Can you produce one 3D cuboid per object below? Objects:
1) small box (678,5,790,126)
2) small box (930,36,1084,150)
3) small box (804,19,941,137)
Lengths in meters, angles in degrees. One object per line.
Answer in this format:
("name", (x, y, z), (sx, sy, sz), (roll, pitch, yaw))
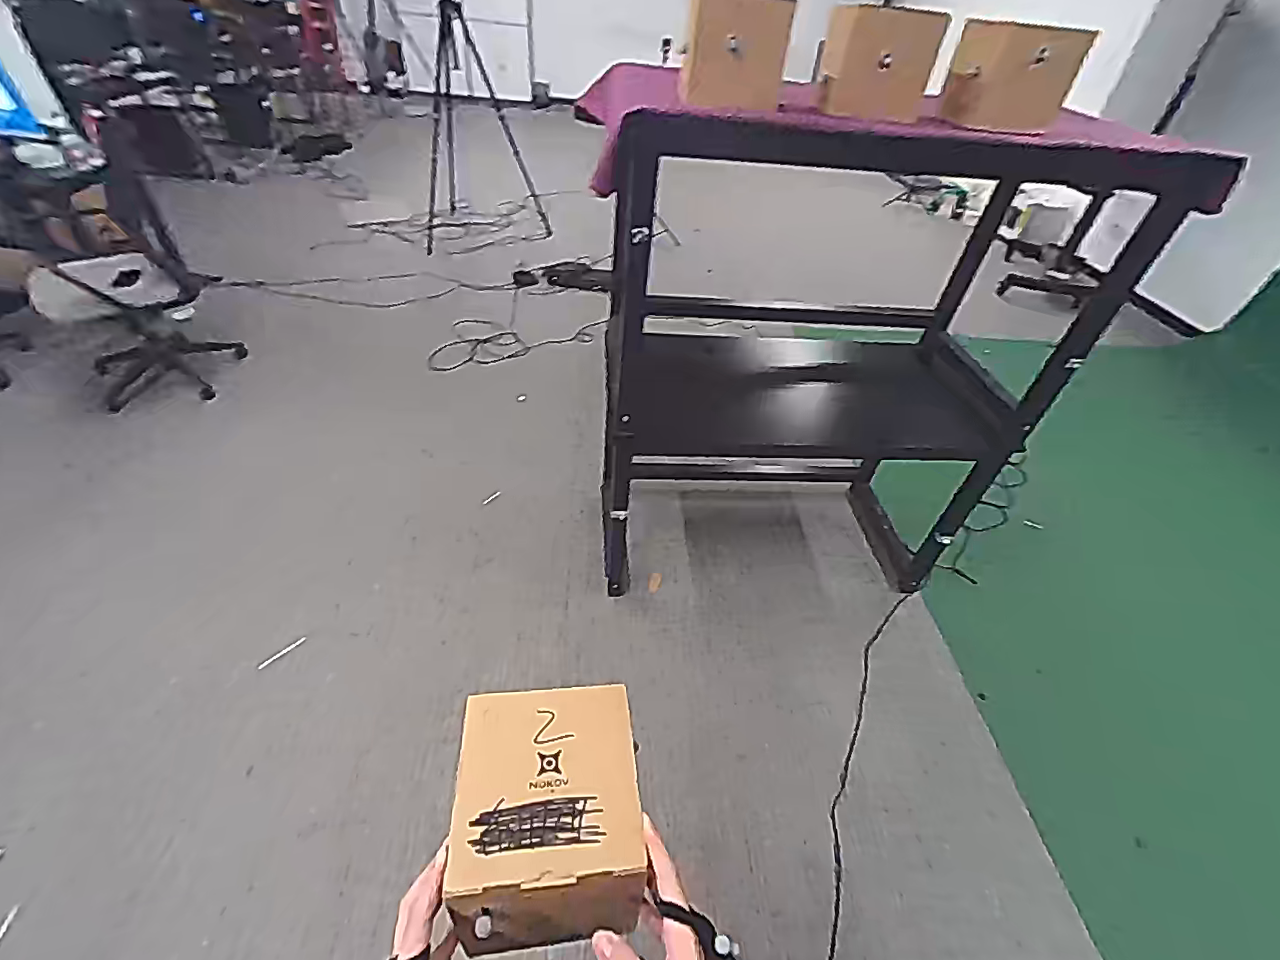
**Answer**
("small box", (0.169, -0.796, 1.041), (0.179, 0.176, 0.168), (2, 43, -4))
("small box", (0.723, -0.783, 1.097), (0.179, 0.176, 0.168), (1, 42, -6))
("small box", (0.448, -0.794, 1.074), (0.179, 0.176, 0.168), (3, 41, -3))
